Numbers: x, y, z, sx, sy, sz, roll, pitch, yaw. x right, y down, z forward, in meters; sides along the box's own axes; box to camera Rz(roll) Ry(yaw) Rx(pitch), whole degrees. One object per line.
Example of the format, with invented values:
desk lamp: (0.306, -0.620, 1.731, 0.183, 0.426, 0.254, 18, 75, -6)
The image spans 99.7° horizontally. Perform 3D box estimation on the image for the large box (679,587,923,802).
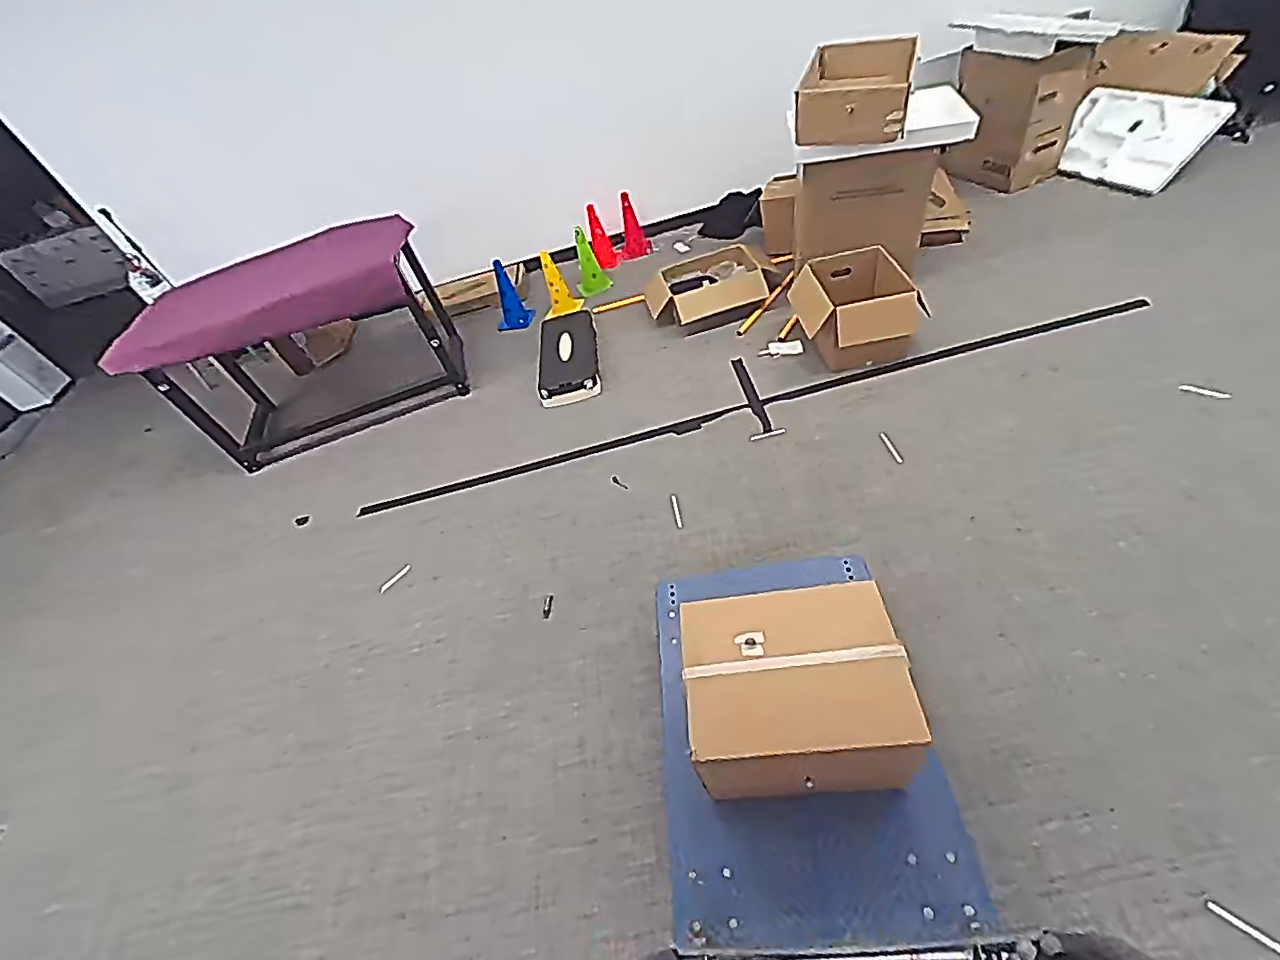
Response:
large box: (0.317, 0.463, 1.146, 0.408, 0.320, 0.320, -10, 46, 9)
